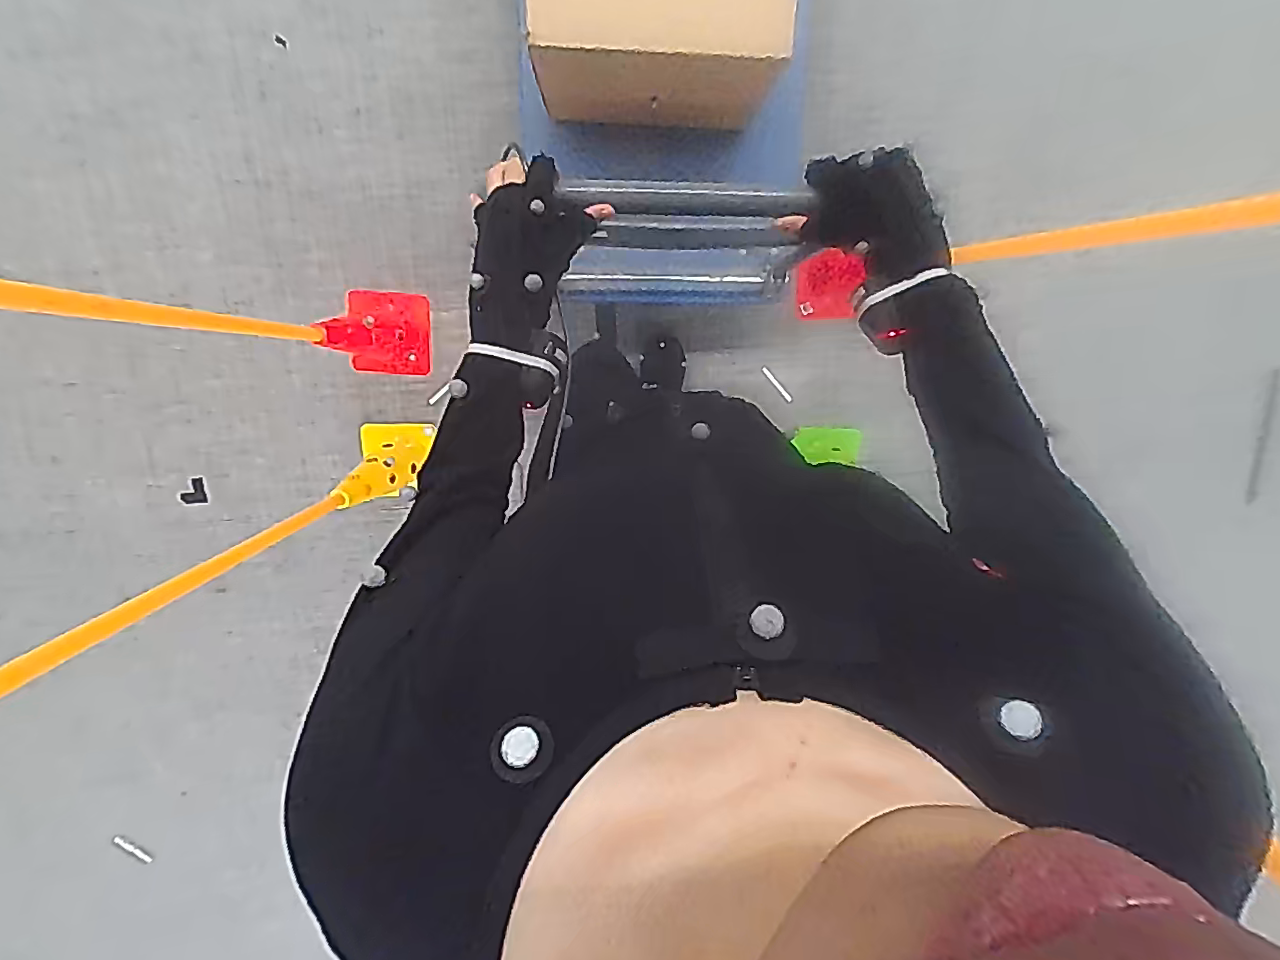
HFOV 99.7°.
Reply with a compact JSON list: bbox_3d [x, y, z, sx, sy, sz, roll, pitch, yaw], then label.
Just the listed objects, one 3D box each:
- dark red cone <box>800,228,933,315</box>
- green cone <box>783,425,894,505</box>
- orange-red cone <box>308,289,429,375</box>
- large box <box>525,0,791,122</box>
[{"bbox_3d":[0.506,-0.470,1.179,0.201,0.394,0.202,-4,106,-4],"label":"dark red cone"},{"bbox_3d":[0.507,-0.006,1.323,0.202,0.368,0.200,0,105,-4],"label":"green cone"},{"bbox_3d":[-0.619,-0.328,1.188,0.198,0.360,0.199,4,103,-5],"label":"orange-red cone"},{"bbox_3d":[0.026,-0.841,0.925,0.408,0.320,0.320,1,105,-2],"label":"large box"}]
